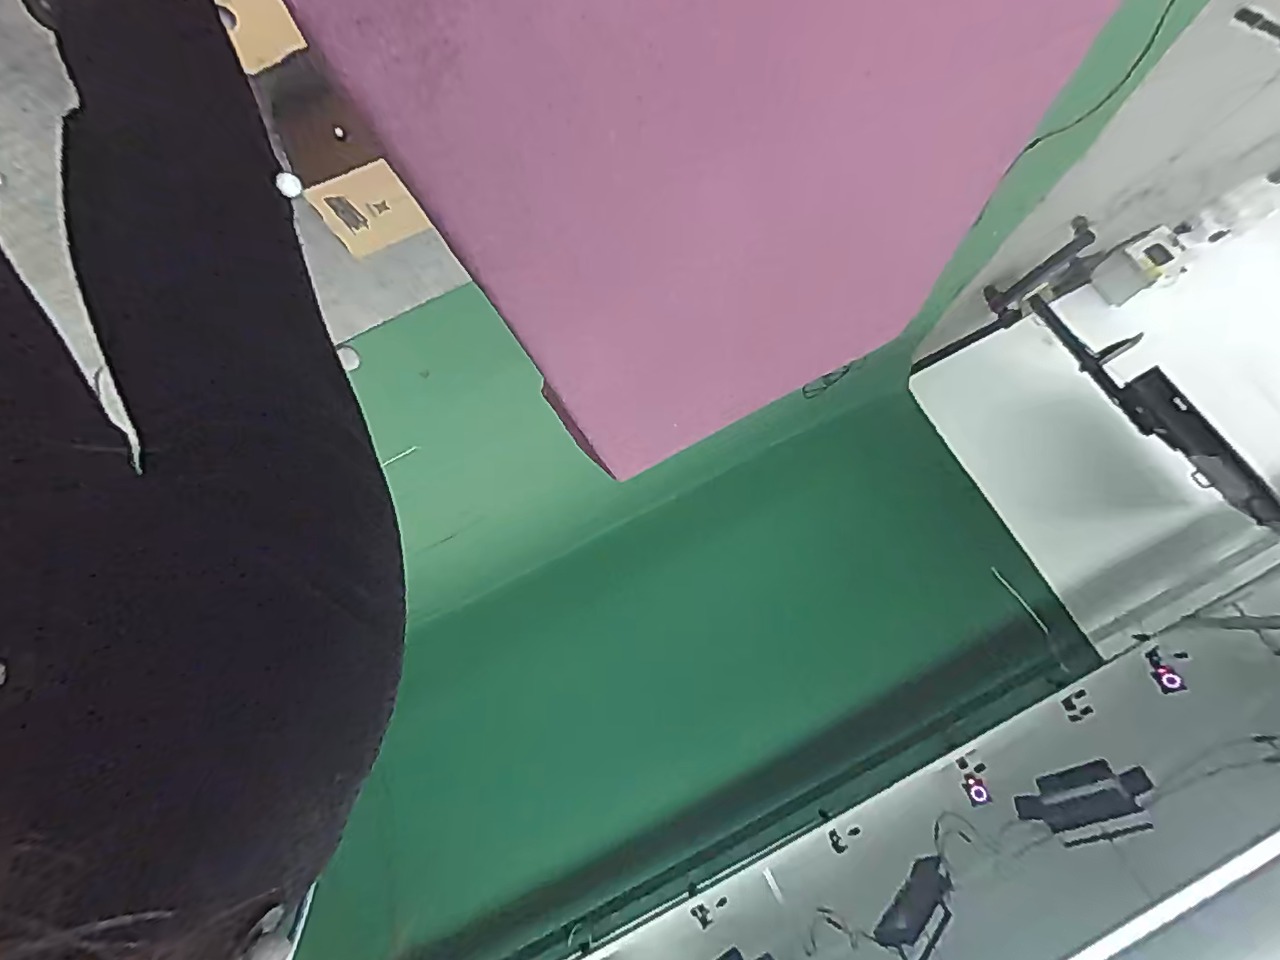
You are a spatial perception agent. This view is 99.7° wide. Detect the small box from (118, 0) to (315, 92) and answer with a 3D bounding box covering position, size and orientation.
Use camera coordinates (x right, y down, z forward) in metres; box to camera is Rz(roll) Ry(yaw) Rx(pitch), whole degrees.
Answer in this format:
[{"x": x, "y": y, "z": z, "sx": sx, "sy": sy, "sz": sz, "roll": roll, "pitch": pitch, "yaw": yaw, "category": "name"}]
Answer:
[{"x": -0.536, "y": -0.626, "z": 0.639, "sx": 0.168, "sy": 0.176, "sz": 0.179, "roll": -27, "pitch": 164, "yaw": -1, "category": "small box"}]
